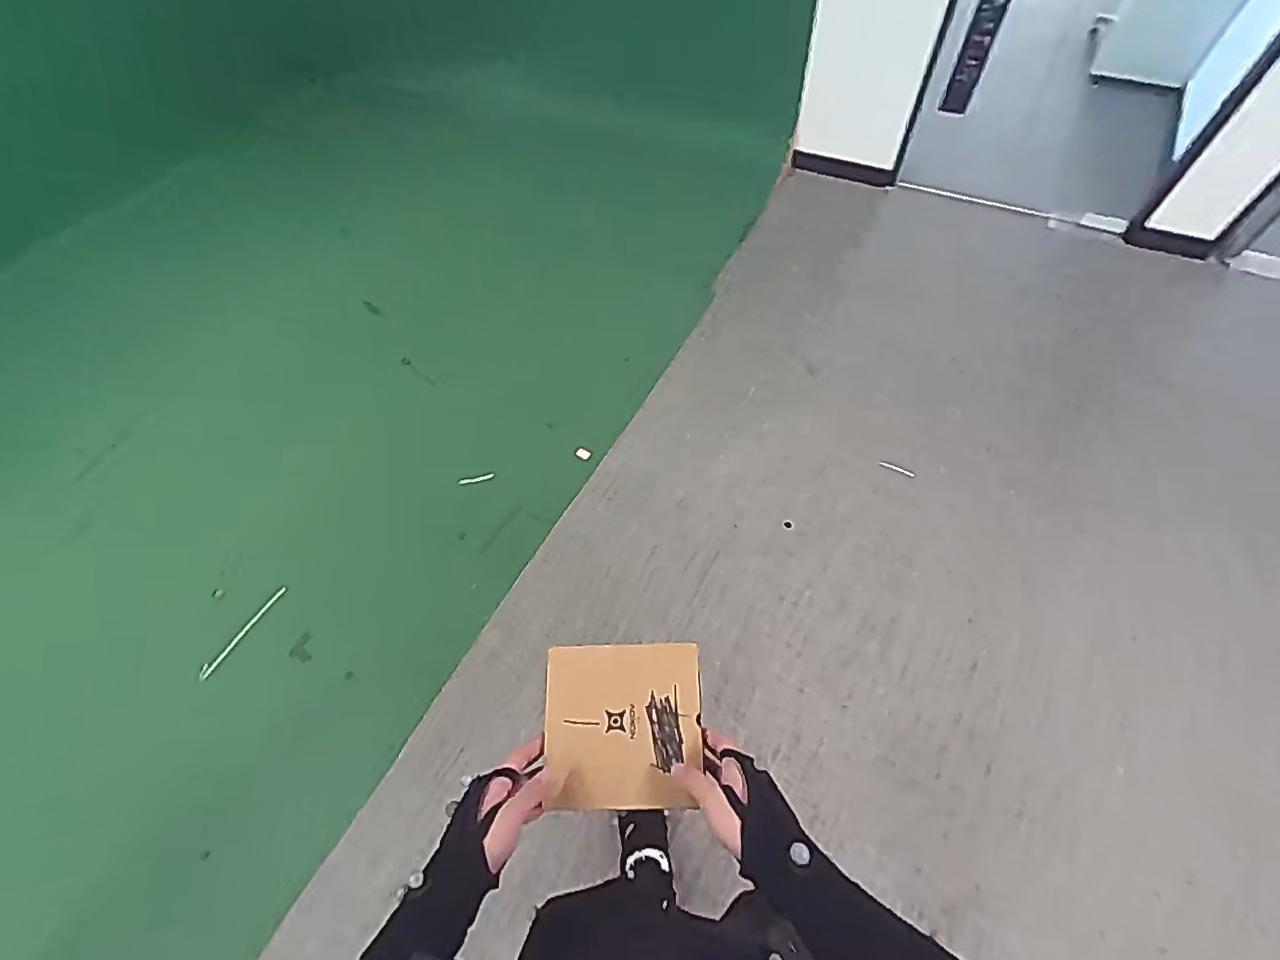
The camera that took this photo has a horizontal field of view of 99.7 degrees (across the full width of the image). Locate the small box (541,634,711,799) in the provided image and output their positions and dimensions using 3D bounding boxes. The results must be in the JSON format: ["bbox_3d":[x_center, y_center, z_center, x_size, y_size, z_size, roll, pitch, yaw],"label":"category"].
[{"bbox_3d":[-0.012,0.279,0.653,0.179,0.176,0.168,-2,66,3],"label":"small box"}]
